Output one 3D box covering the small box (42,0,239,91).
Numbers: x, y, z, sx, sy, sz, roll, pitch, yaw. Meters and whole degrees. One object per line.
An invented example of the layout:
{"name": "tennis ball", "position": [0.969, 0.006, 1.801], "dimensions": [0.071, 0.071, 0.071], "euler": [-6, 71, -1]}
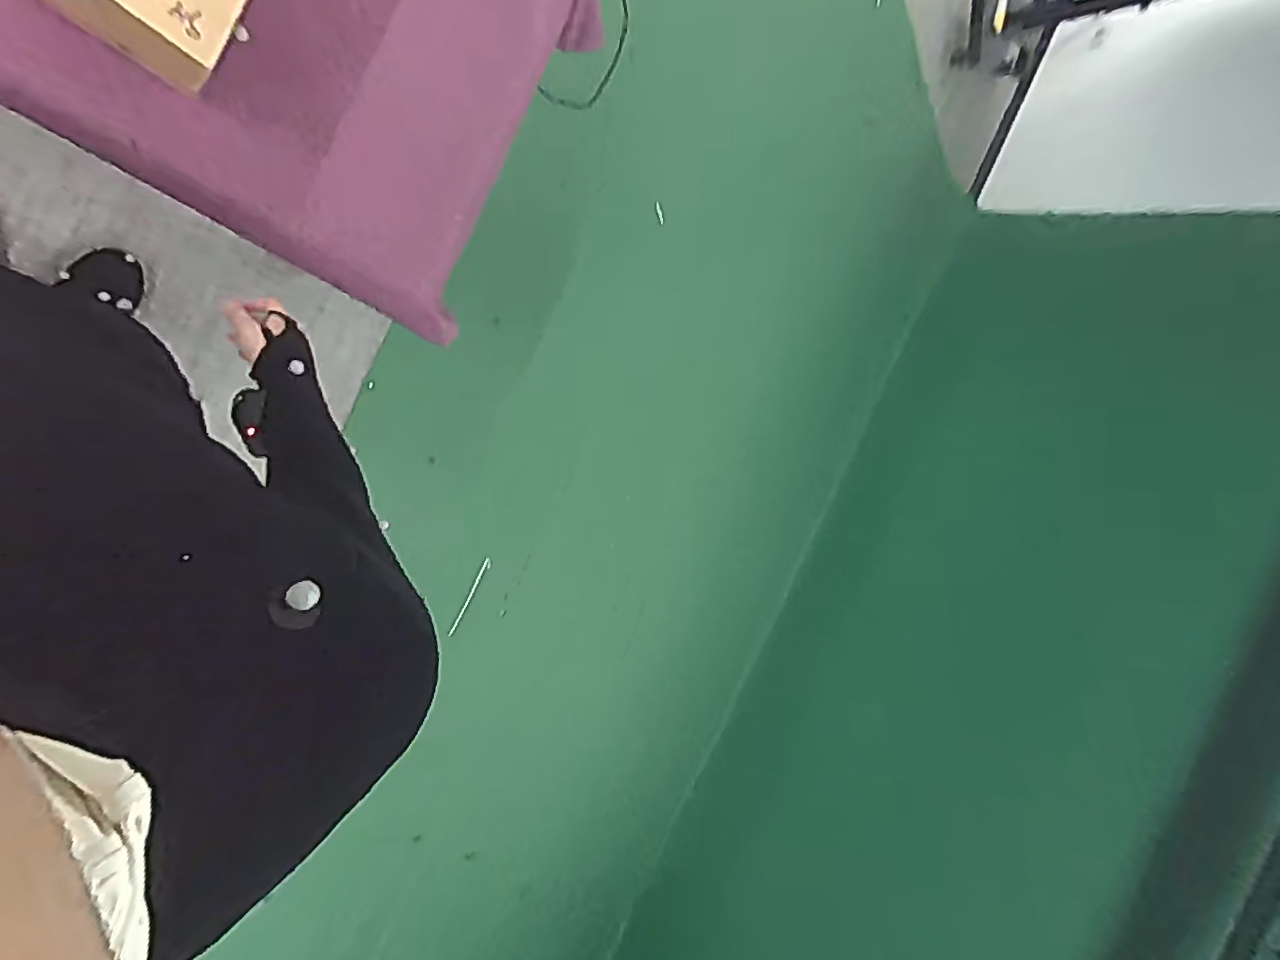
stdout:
{"name": "small box", "position": [-0.486, -0.523, 0.516], "dimensions": [0.168, 0.176, 0.179], "euler": [27, 88, -47]}
